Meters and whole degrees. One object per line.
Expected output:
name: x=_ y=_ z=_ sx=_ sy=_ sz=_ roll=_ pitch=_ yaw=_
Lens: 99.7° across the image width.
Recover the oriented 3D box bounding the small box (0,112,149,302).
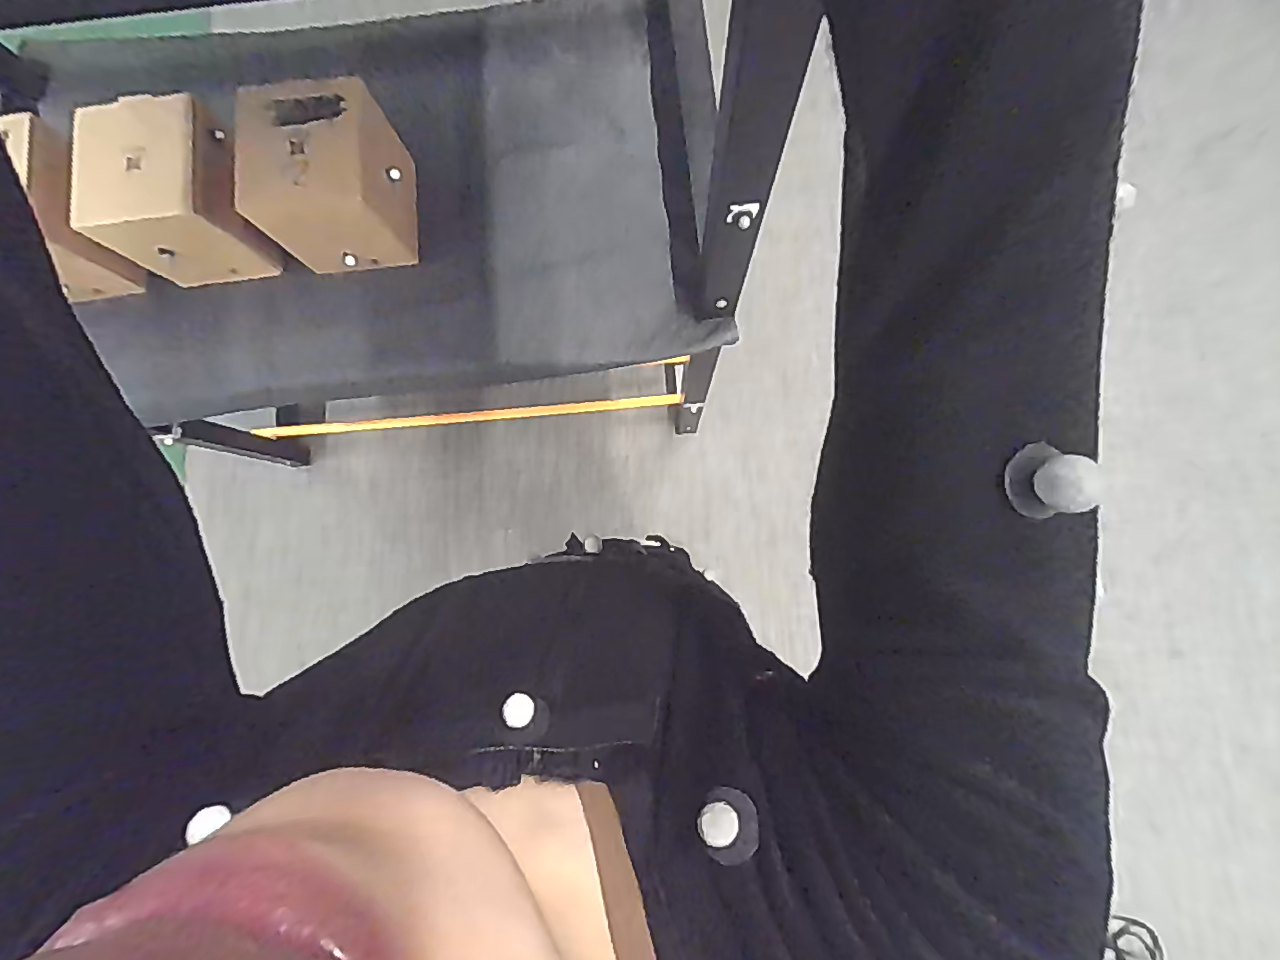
small box: x=-0.869 y=-0.386 z=0.788 sx=0.168 sy=0.176 sz=0.179 roll=-7 pitch=83 yaw=2
